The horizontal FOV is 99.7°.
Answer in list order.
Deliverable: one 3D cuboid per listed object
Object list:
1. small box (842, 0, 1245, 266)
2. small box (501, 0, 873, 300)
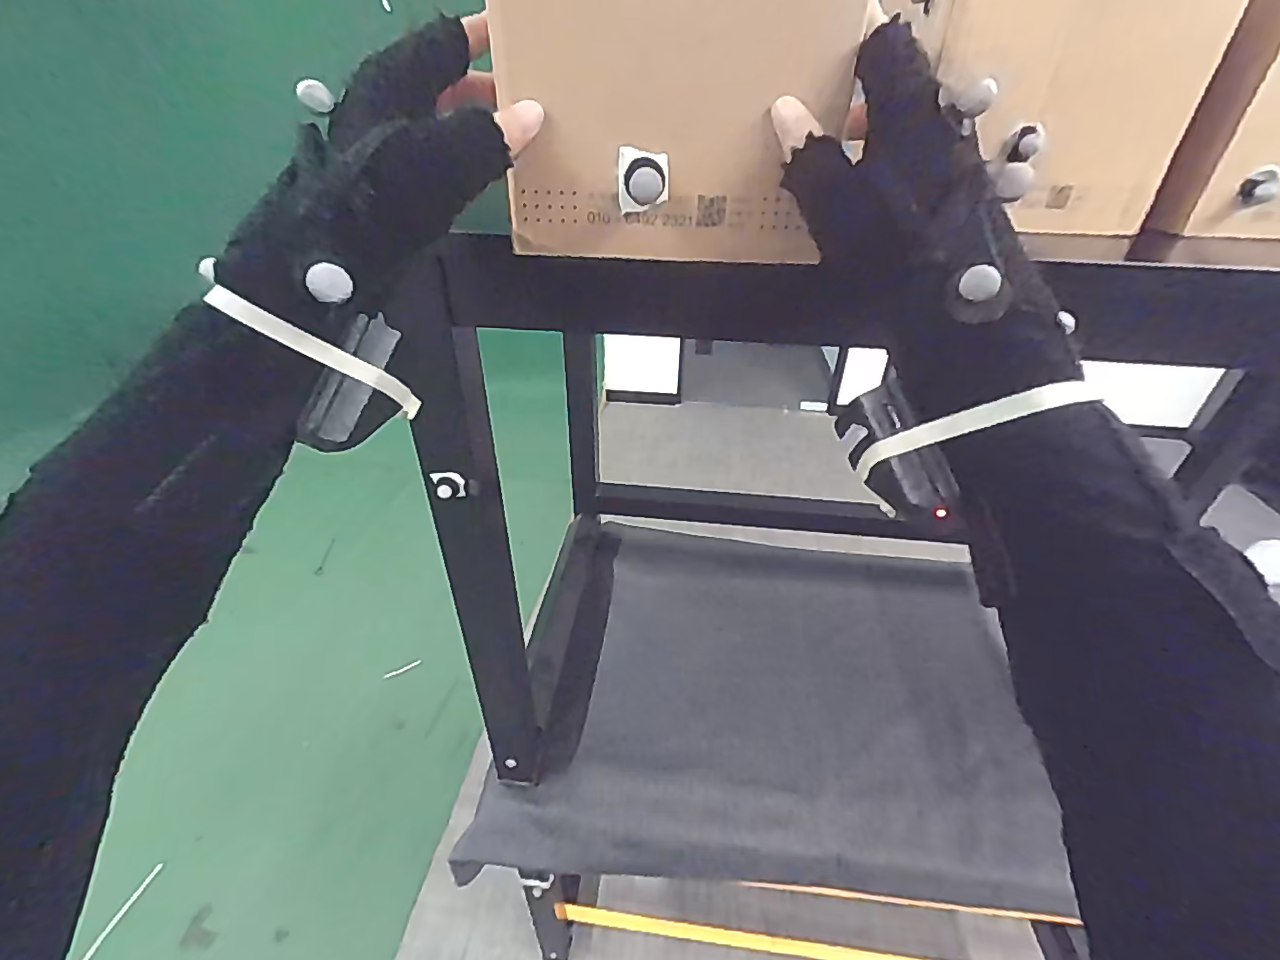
[{"bbox_3d":[0.272,-0.277,0.419,0.168,0.176,0.179,4,35,3],"label":"small box"},{"bbox_3d":[0.018,-0.217,0.323,0.168,0.176,0.179,0,35,0],"label":"small box"}]
